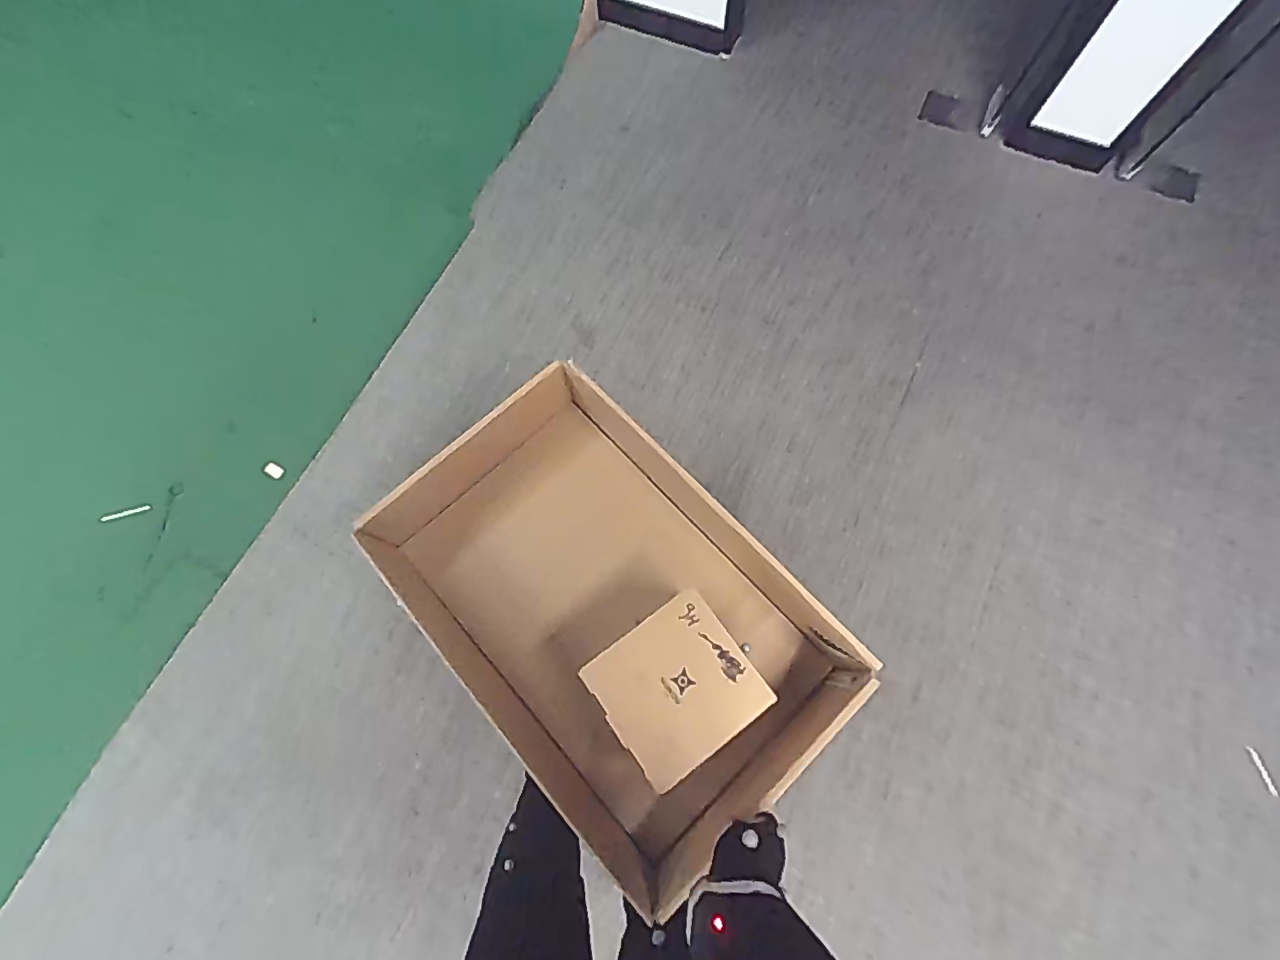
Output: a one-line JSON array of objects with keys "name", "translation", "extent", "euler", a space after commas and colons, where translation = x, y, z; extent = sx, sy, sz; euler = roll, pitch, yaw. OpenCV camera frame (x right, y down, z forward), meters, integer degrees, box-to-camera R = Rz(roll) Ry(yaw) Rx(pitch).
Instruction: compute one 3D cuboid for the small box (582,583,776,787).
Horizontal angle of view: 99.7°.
[{"name": "small box", "translation": [0.049, 0.260, 0.715], "extent": [0.179, 0.176, 0.168], "euler": [-36, 76, -8]}]
